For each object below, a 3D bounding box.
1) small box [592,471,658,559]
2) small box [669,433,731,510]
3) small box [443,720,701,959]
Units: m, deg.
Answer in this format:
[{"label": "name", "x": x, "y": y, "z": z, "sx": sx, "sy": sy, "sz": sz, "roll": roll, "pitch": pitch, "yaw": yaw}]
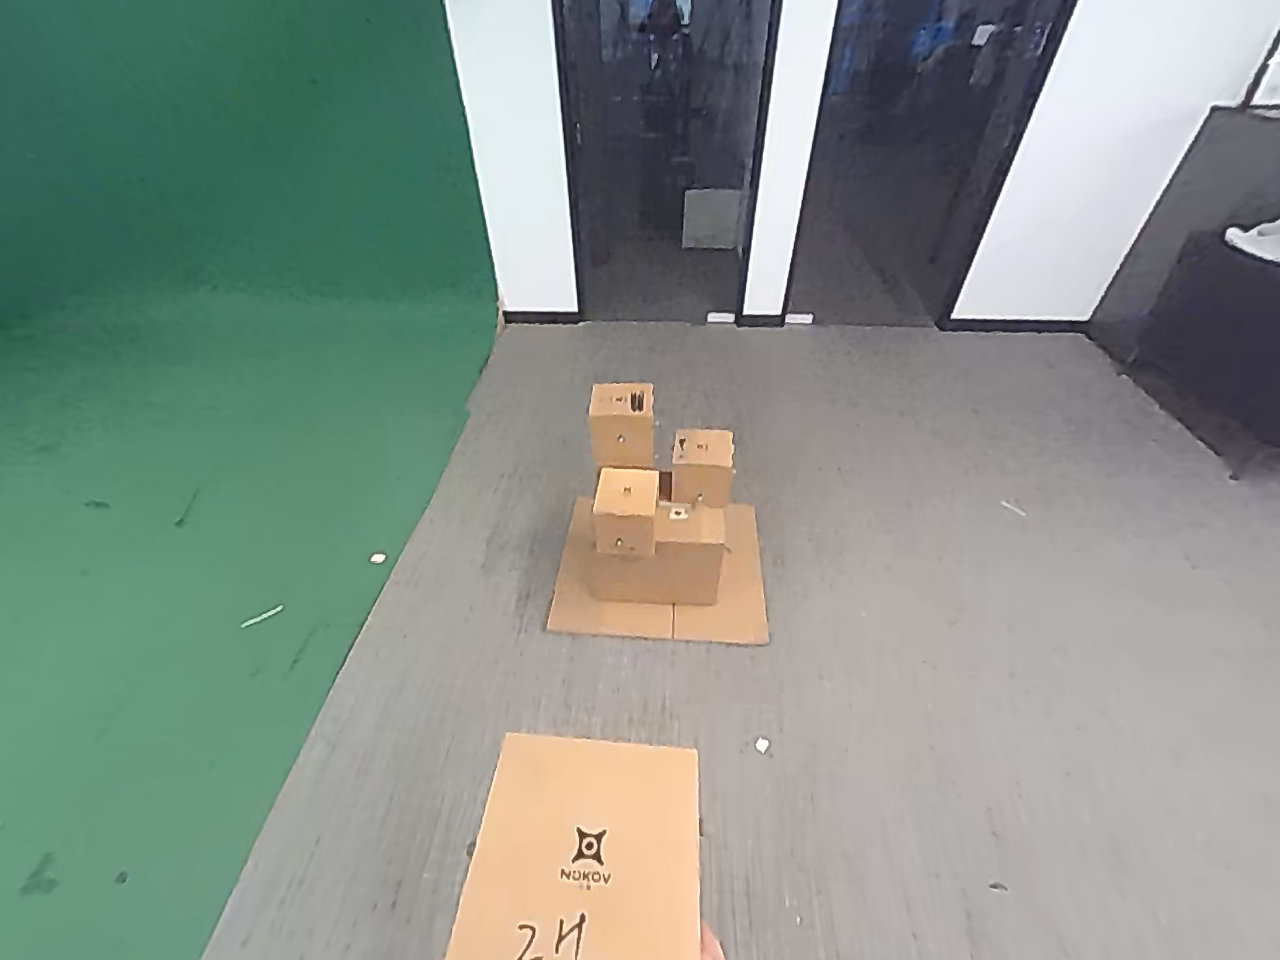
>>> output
[{"label": "small box", "x": -0.041, "y": 0.097, "z": 1.527, "sx": 0.168, "sy": 0.176, "sz": 0.179, "roll": 4, "pitch": 44, "yaw": 3}, {"label": "small box", "x": 0.183, "y": -0.025, "z": 1.661, "sx": 0.179, "sy": 0.176, "sz": 0.168, "roll": 4, "pitch": 43, "yaw": 7}, {"label": "small box", "x": -0.041, "y": 0.330, "z": 0.445, "sx": 0.168, "sy": 0.176, "sz": 0.179, "roll": 4, "pitch": 38, "yaw": 2}]
